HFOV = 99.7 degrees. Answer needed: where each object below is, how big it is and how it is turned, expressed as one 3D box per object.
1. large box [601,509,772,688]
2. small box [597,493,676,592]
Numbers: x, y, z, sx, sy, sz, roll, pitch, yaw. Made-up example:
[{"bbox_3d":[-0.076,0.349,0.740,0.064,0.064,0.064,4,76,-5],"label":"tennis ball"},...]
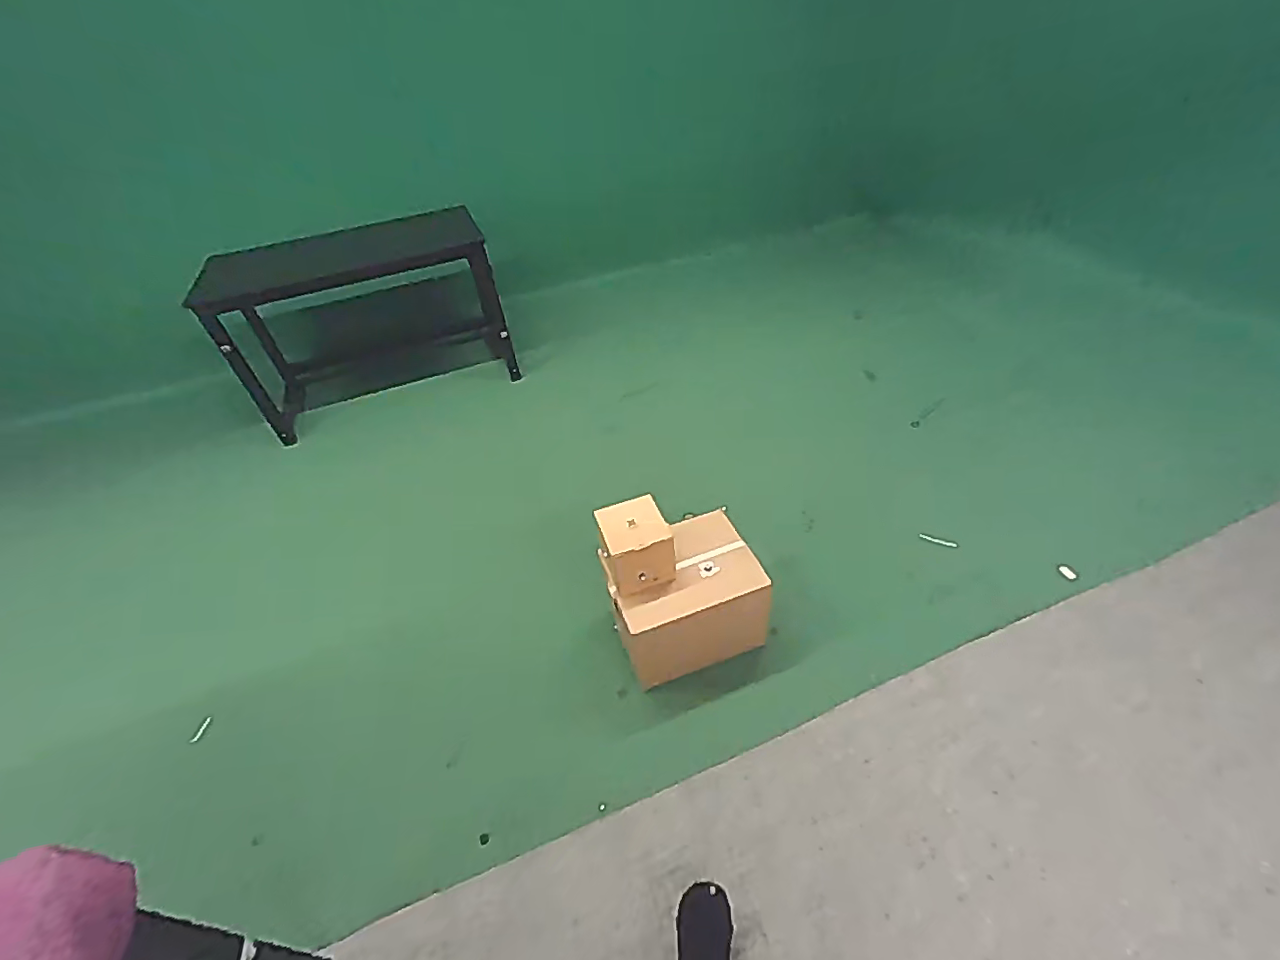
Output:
[{"bbox_3d":[0.131,0.346,1.604,0.408,0.320,0.320,-17,44,-11],"label":"large box"},{"bbox_3d":[-0.009,0.168,1.457,0.168,0.176,0.179,-17,43,-11],"label":"small box"}]
